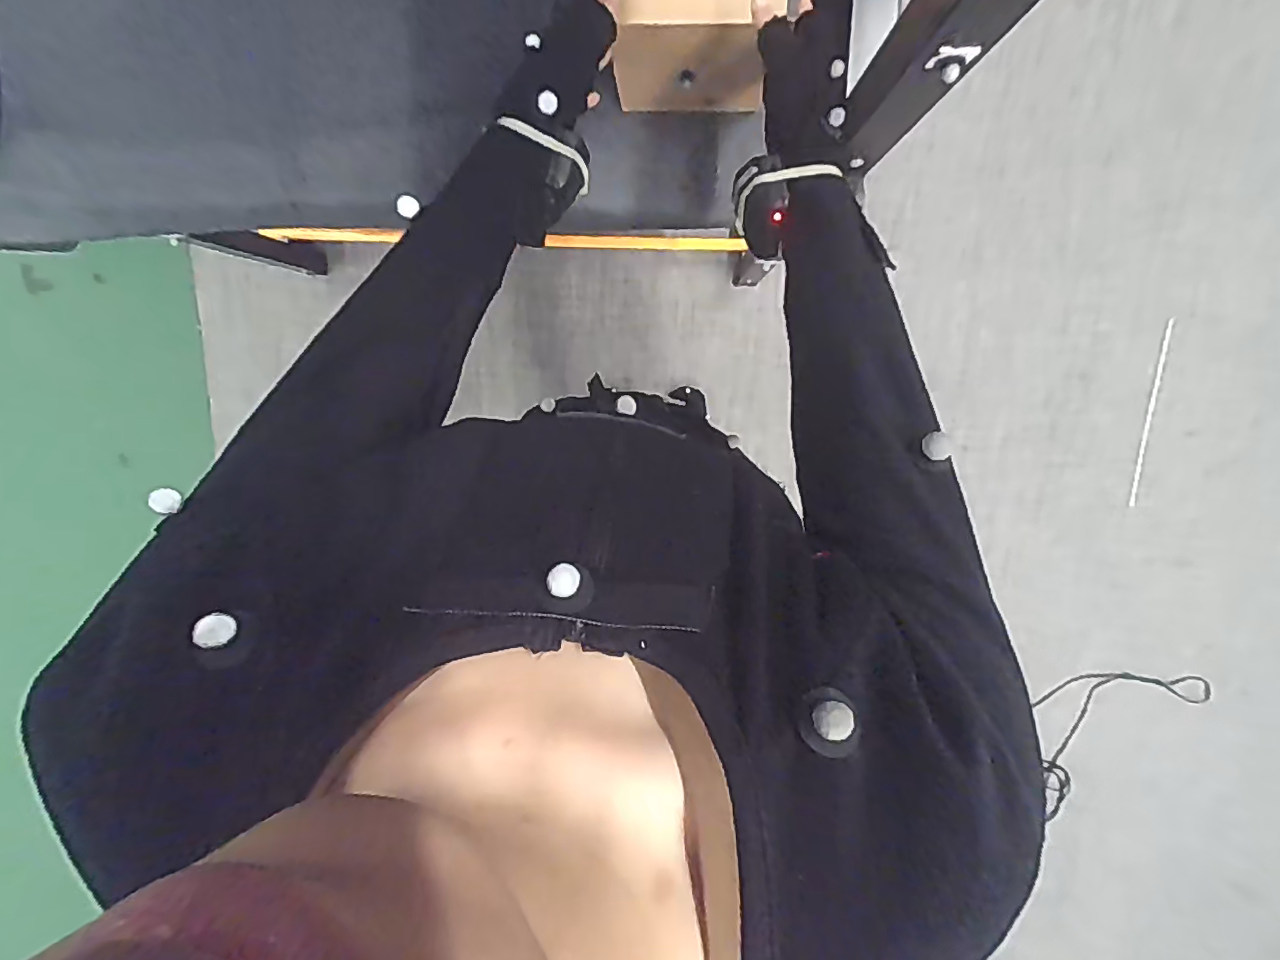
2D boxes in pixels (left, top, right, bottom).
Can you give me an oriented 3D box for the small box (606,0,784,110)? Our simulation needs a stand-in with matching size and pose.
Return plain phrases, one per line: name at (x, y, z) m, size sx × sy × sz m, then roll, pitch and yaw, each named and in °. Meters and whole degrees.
small box at (0.057, -0.514, 0.560) m, size 0.168 × 0.176 × 0.179 m, roll 2°, pitch 101°, yaw 2°
